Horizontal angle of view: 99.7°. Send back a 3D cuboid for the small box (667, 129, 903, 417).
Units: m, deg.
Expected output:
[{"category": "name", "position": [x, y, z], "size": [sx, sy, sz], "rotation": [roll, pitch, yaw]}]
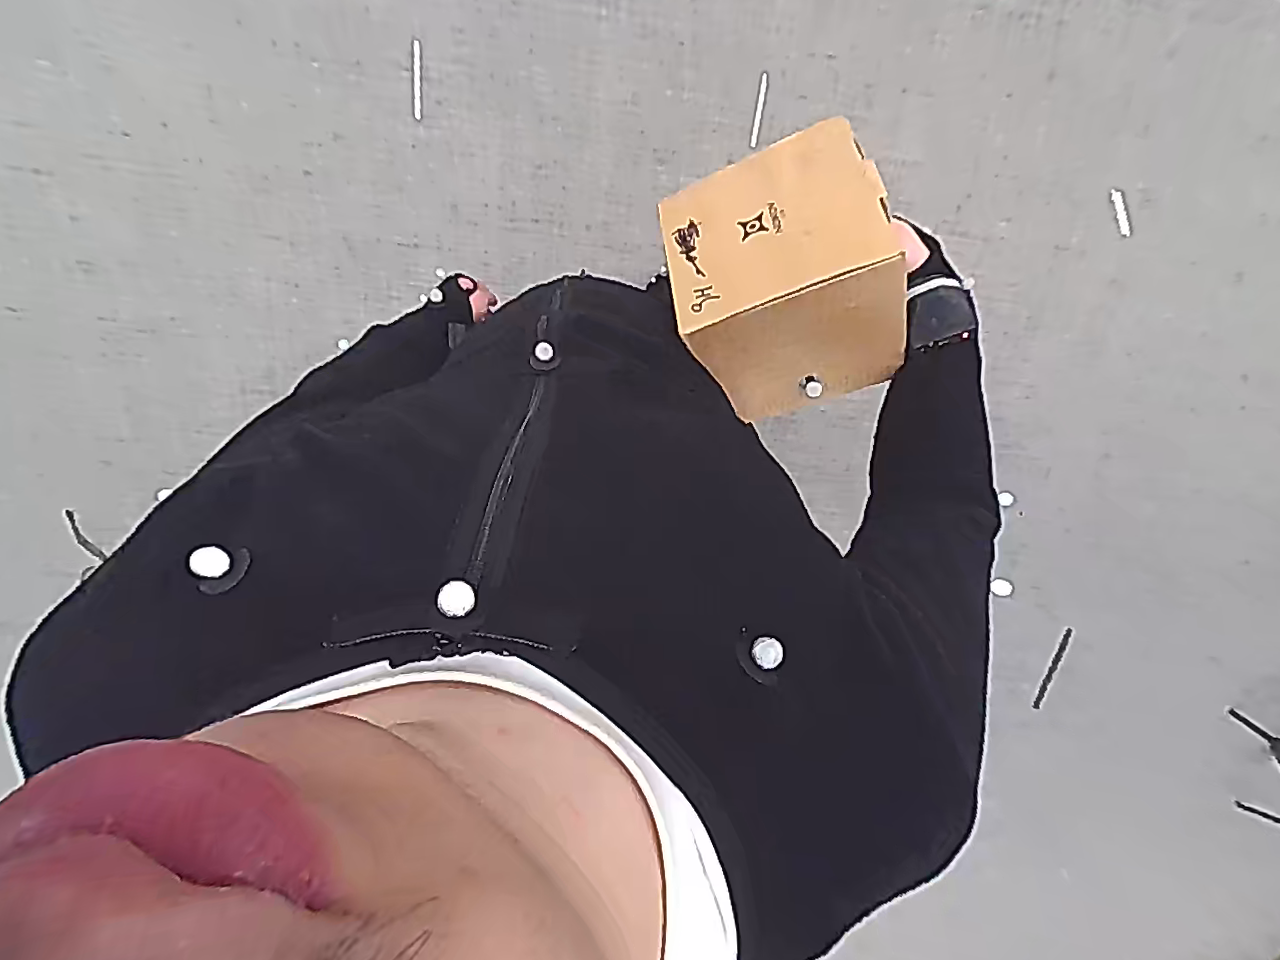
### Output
[{"category": "small box", "position": [0.143, -0.187, 0.536], "size": [0.179, 0.168, 0.176], "rotation": [-16, 152, 19]}]
